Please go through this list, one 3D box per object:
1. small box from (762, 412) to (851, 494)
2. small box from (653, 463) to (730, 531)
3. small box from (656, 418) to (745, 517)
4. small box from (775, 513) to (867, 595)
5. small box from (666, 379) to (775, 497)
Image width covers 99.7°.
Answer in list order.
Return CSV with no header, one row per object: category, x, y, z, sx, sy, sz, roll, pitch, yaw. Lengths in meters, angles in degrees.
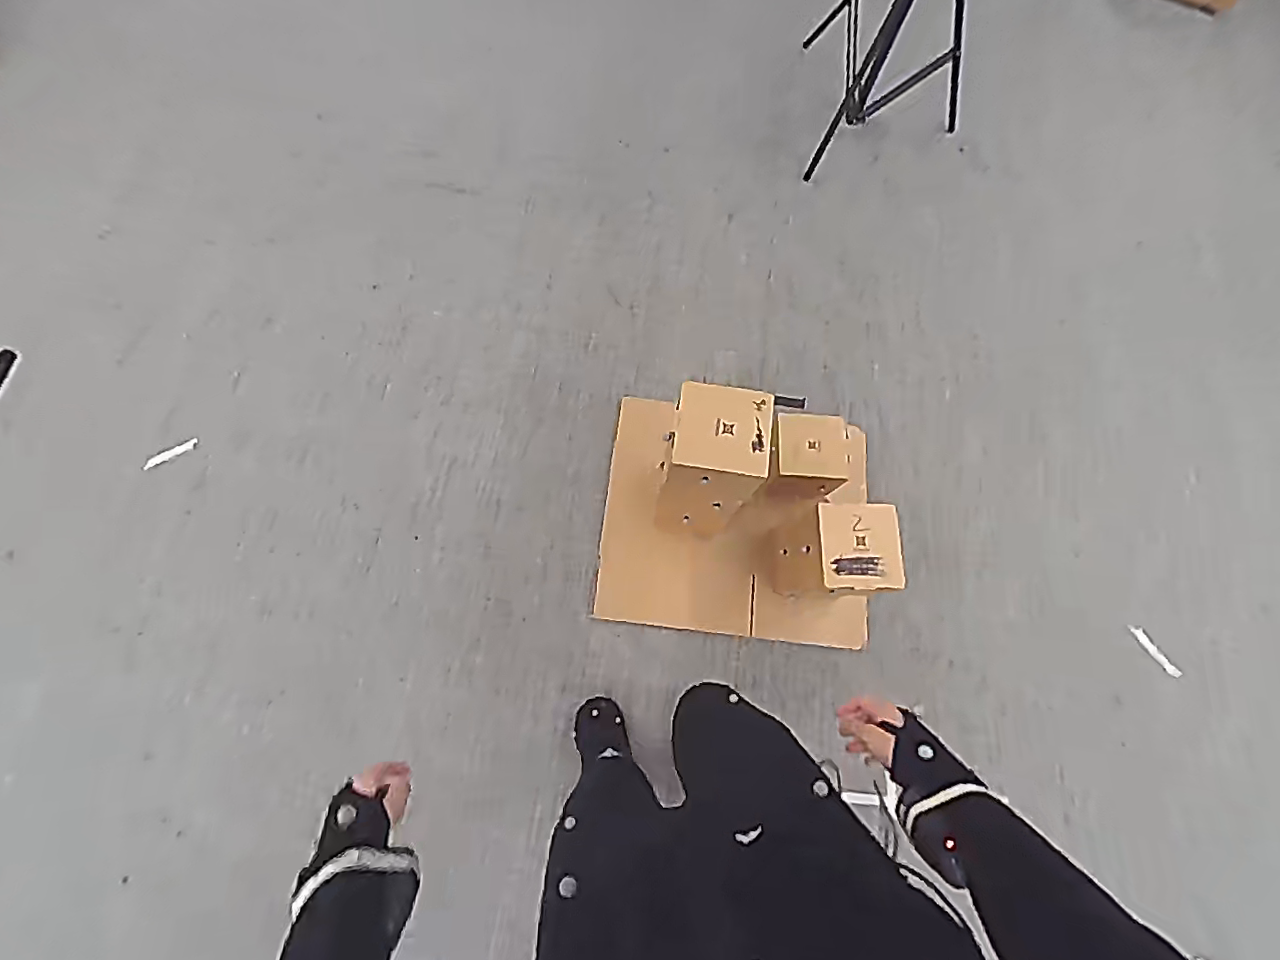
small box,0.423,-0.064,1.396,0.179,0.176,0.168,3,73,-1
small box,0.133,0.024,1.354,0.179,0.176,0.168,10,74,1
small box,0.139,-0.024,1.196,0.179,0.176,0.168,11,73,2
small box,0.435,0.187,1.321,0.168,0.176,0.179,3,73,-2
small box,0.148,-0.073,1.040,0.179,0.176,0.168,8,74,1
